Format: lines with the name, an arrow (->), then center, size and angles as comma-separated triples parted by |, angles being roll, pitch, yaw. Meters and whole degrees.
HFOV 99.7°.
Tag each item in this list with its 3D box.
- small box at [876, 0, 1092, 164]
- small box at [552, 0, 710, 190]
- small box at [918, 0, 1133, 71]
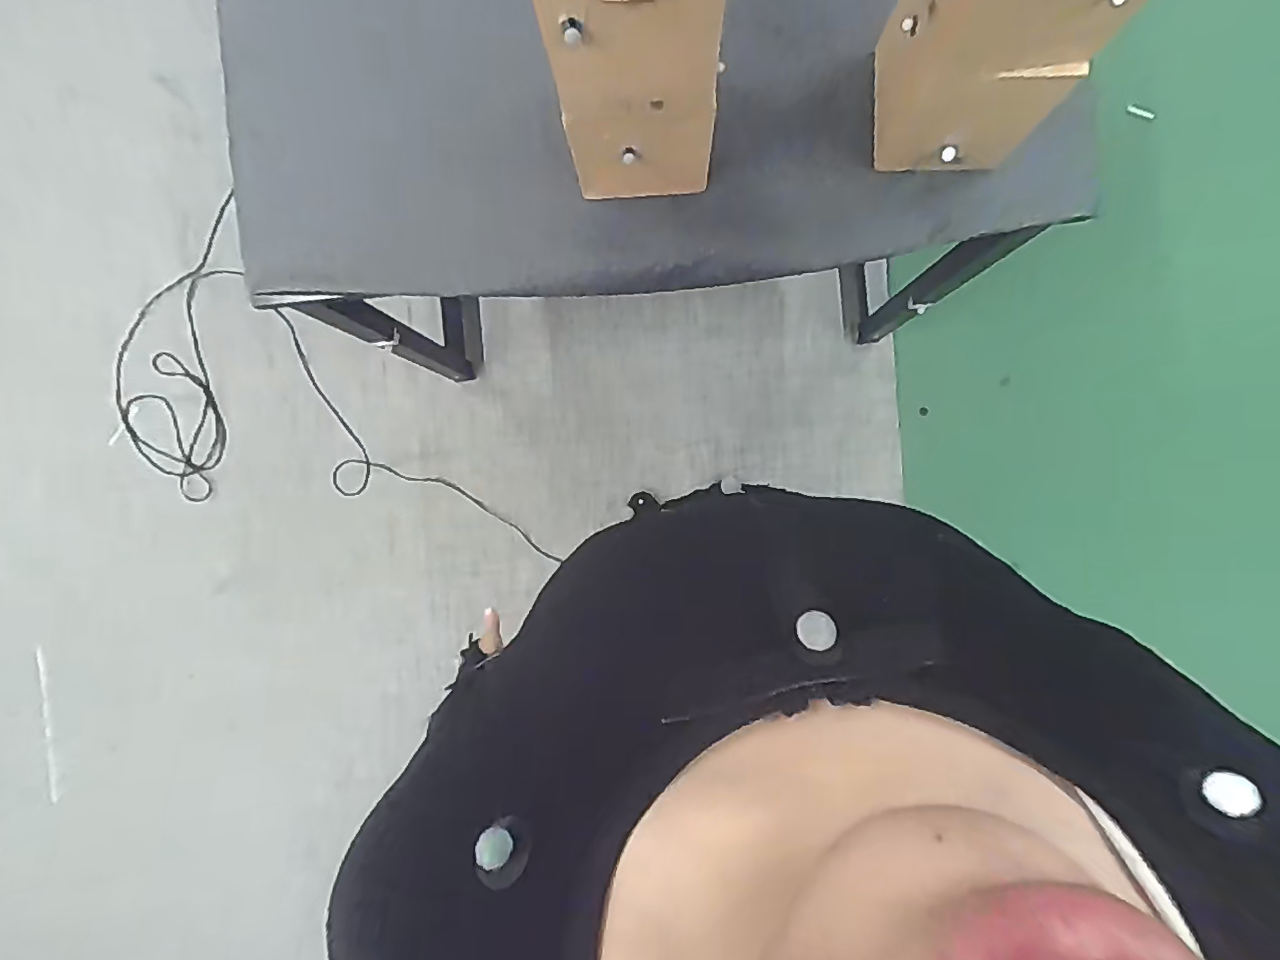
small box -> 0.398, -0.518, 0.653 | 0.168, 0.176, 0.179 | 1, 89, 4
small box -> -0.005, -0.489, 0.678 | 0.179, 0.176, 0.168 | -2, 89, 4
small box -> 0.377, -0.523, 0.492 | 0.179, 0.176, 0.168 | -7, 86, 5
